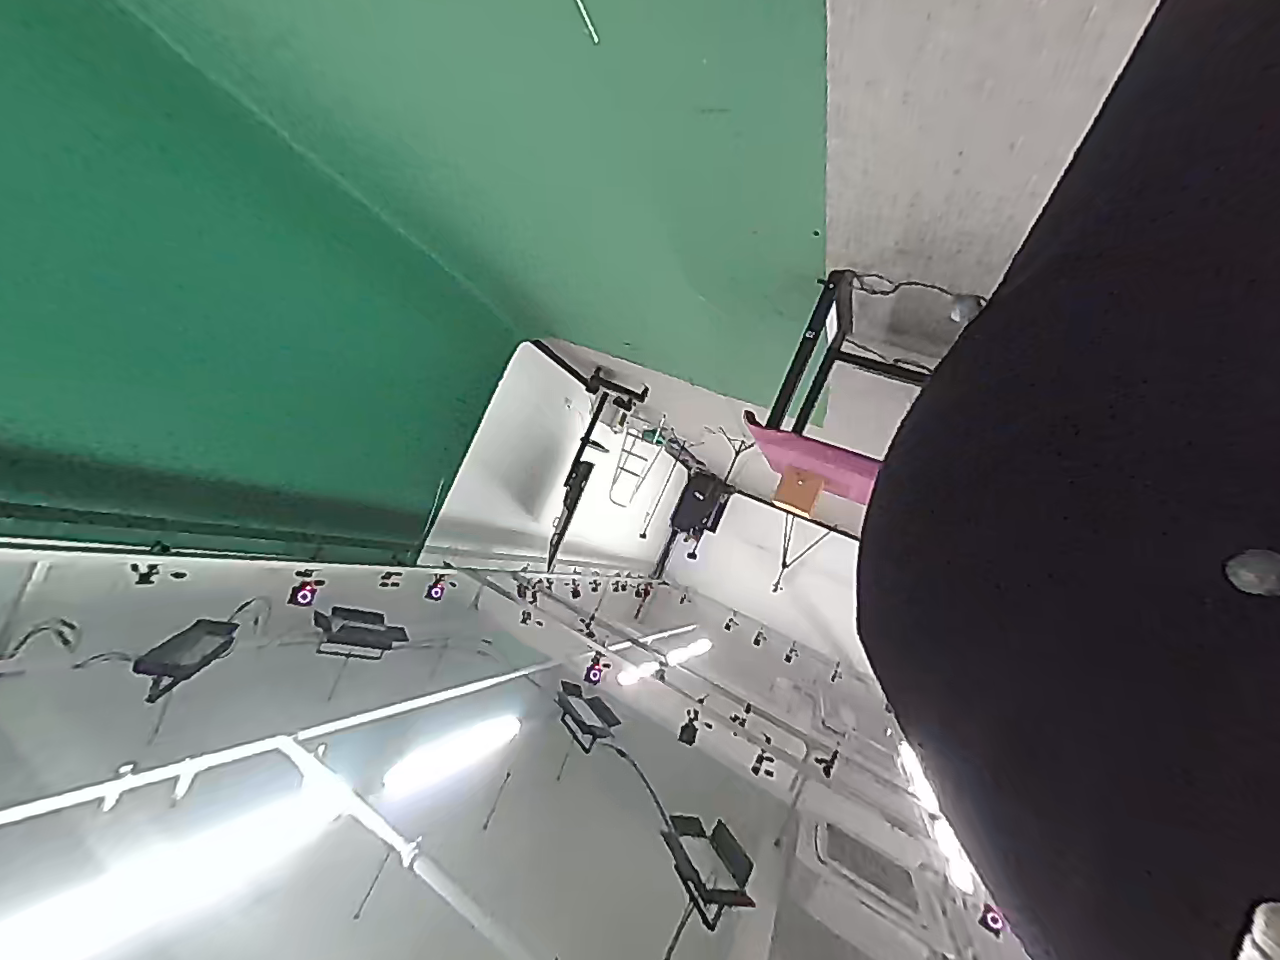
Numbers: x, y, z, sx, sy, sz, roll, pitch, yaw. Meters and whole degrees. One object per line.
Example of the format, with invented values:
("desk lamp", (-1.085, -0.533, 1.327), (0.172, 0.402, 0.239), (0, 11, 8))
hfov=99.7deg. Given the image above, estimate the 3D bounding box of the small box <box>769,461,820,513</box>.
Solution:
("small box", (0.682, 0.031, 2.372), (0.168, 0.176, 0.179), (22, 177, 21))
